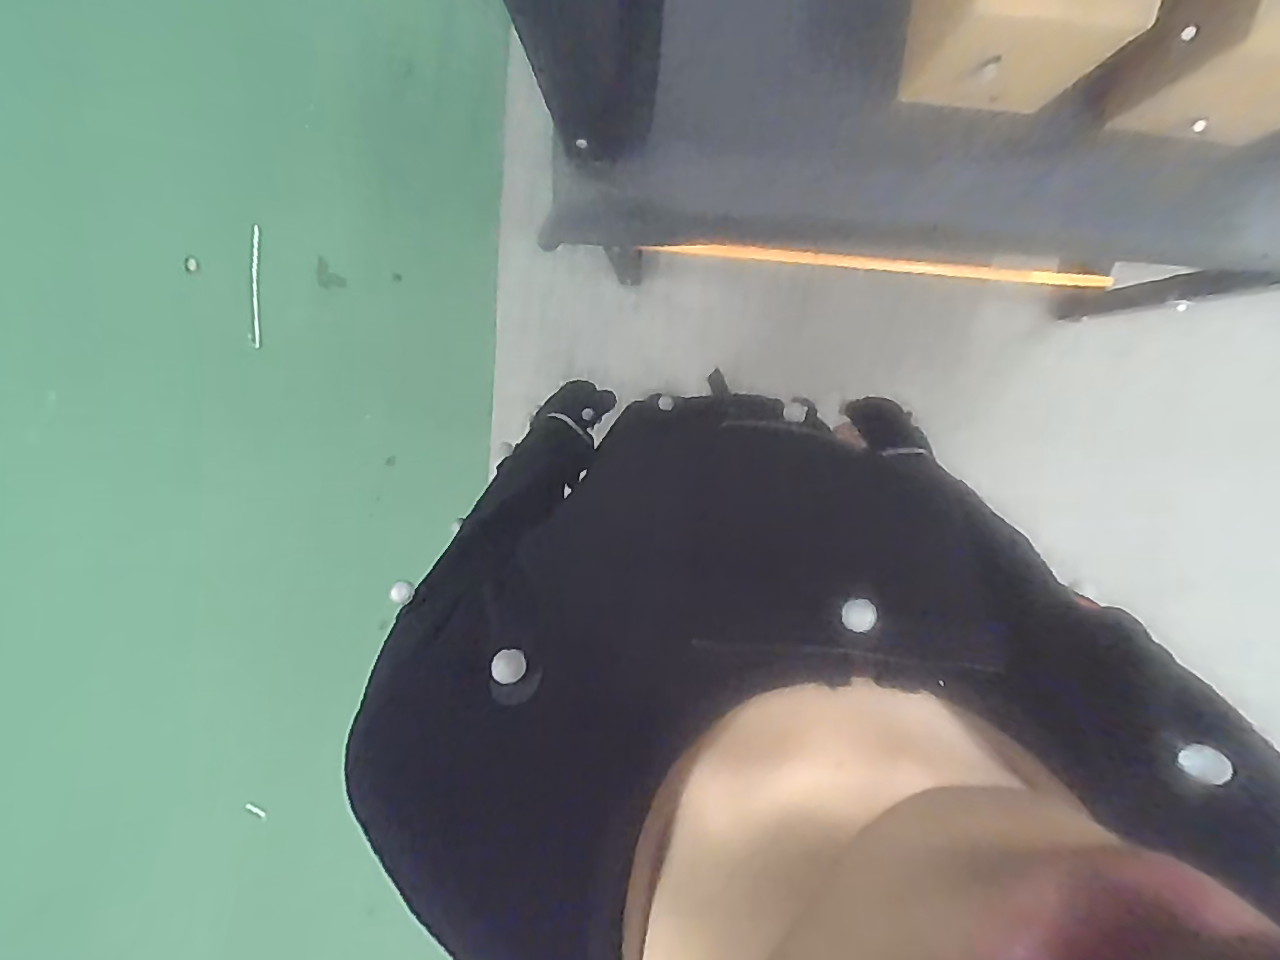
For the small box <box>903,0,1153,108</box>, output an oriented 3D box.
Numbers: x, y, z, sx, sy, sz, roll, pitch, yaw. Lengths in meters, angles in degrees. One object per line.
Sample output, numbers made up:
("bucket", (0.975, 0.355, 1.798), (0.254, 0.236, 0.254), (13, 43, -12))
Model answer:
("small box", (0.398, -0.523, 0.562), (0.168, 0.176, 0.179), (6, 100, 2))
